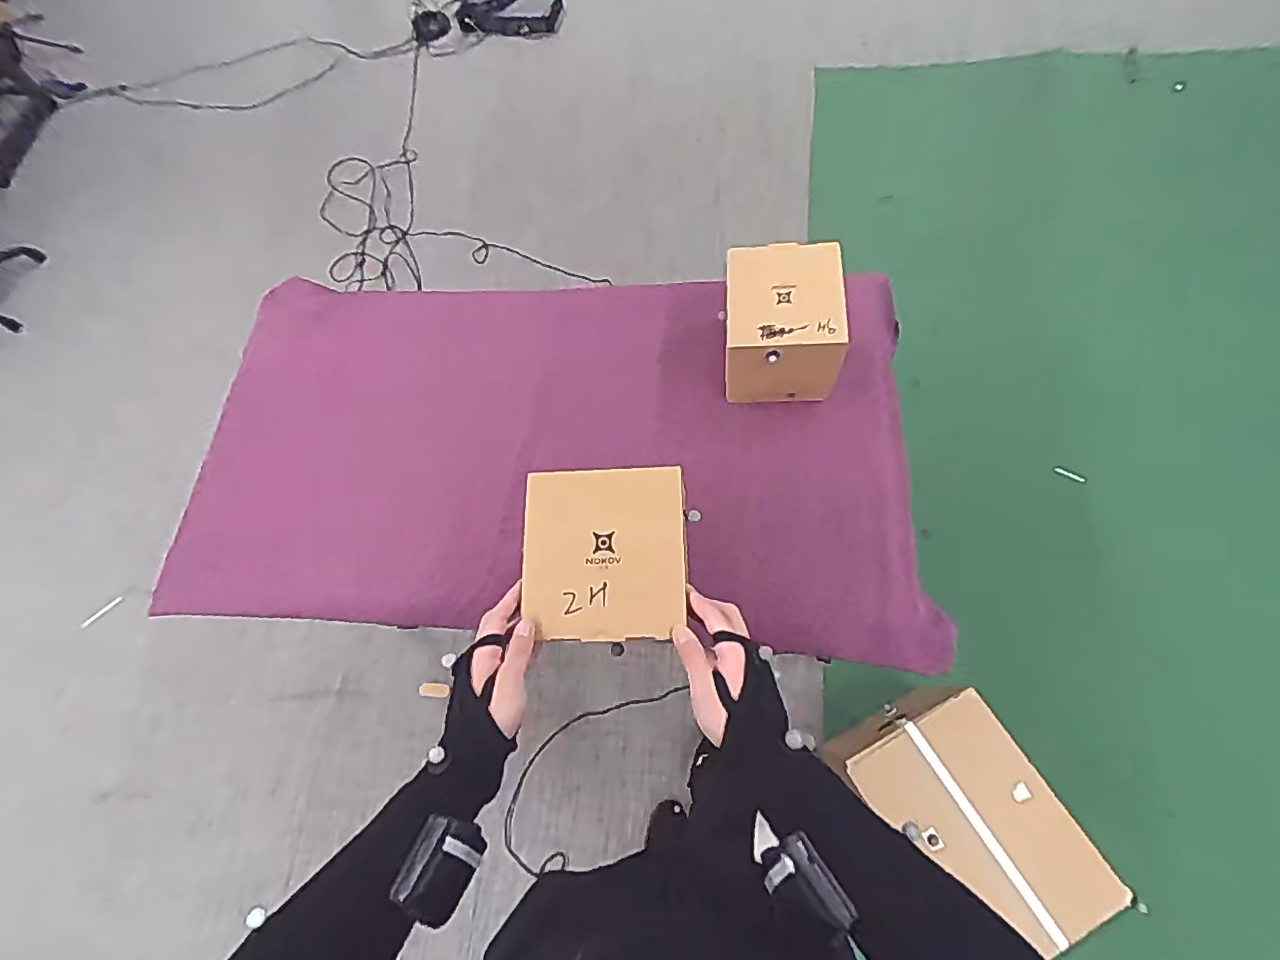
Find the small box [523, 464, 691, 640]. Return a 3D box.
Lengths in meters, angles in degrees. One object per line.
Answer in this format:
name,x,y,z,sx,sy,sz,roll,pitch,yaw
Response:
small box,-0.026,0.092,0.625,0.168,0.176,0.179,-2,73,6

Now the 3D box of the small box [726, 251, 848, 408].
small box,0.221,-0.230,0.853,0.168,0.176,0.179,0,69,9
